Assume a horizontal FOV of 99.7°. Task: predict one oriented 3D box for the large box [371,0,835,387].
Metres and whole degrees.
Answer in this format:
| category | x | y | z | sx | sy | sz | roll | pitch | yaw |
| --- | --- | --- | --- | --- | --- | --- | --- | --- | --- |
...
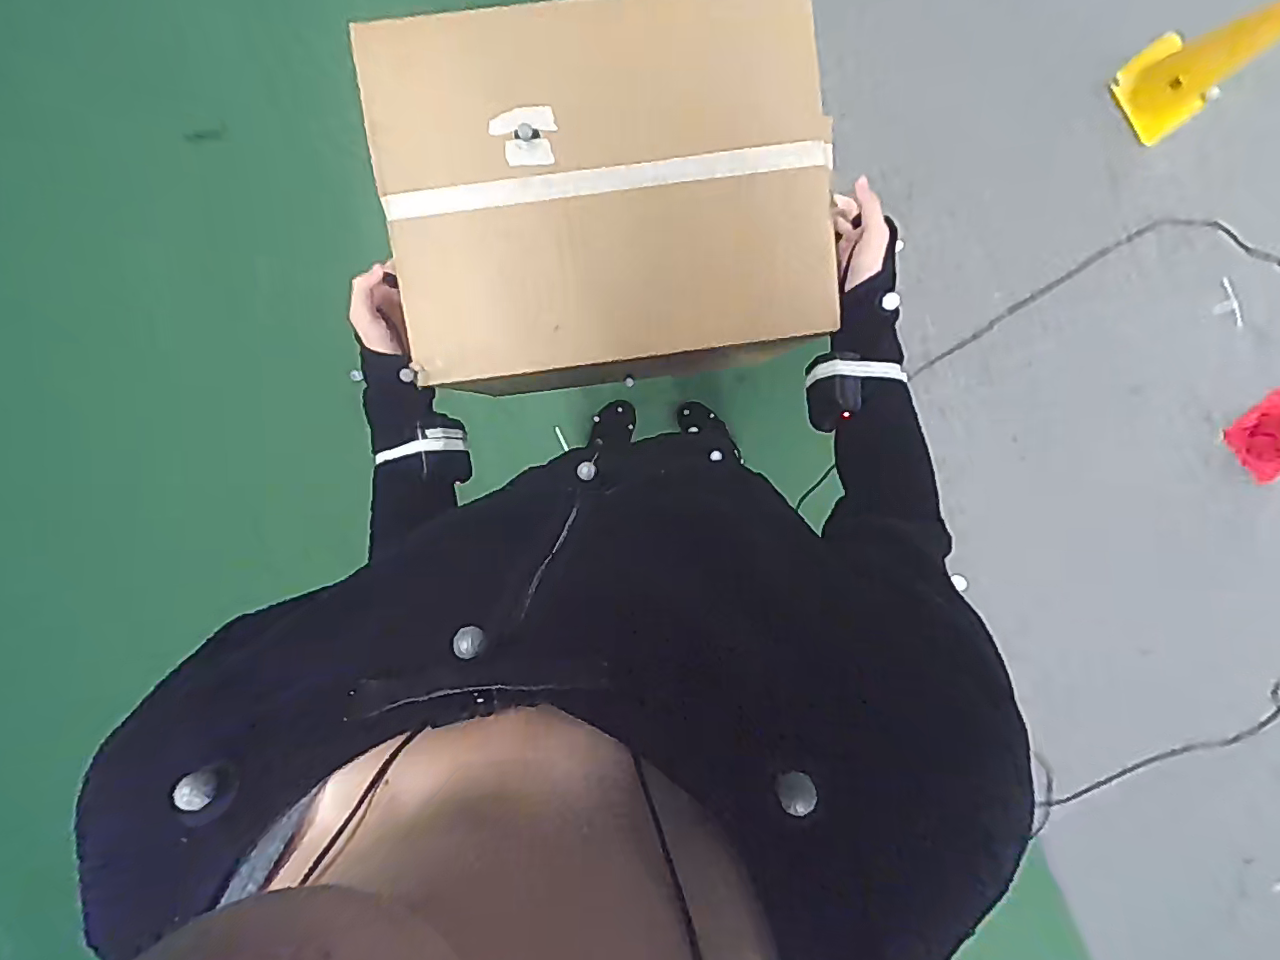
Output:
| category | x | y | z | sx | sy | sz | roll | pitch | yaw |
| --- | --- | --- | --- | --- | --- | --- | --- | --- | --- |
| large box | -0.028 | -0.292 | 0.649 | 0.408 | 0.320 | 0.320 | -7 | 97 | -1 |
